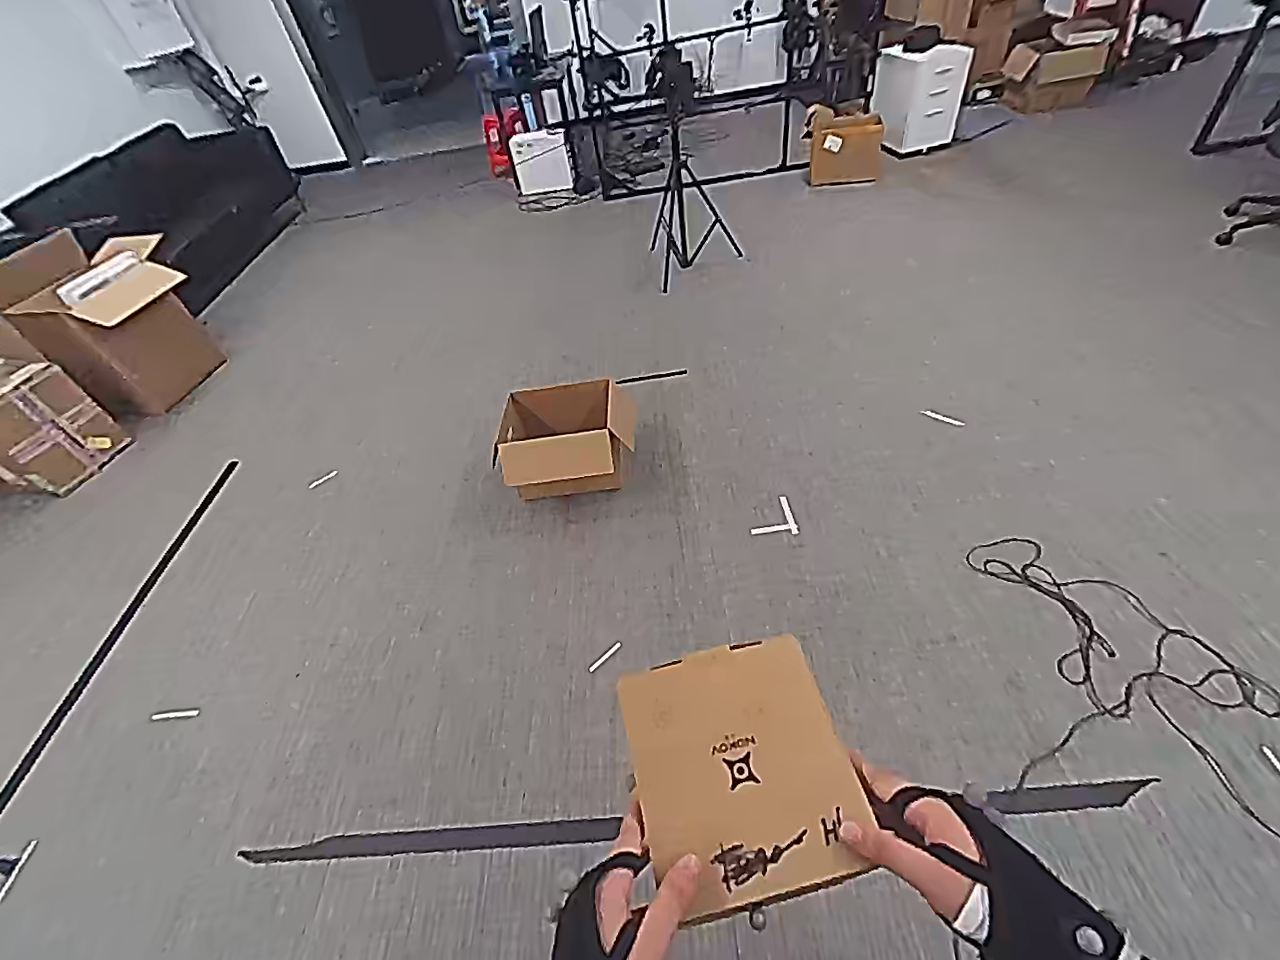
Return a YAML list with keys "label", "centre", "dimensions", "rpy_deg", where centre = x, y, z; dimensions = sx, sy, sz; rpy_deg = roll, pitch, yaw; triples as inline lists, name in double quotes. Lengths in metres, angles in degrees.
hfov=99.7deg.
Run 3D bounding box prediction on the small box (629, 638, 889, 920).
- label: "small box"
  centre: [0.090, 0.274, 0.494]
  dimensions: [0.168, 0.176, 0.179]
  rpy_deg: [-12, 50, -3]
